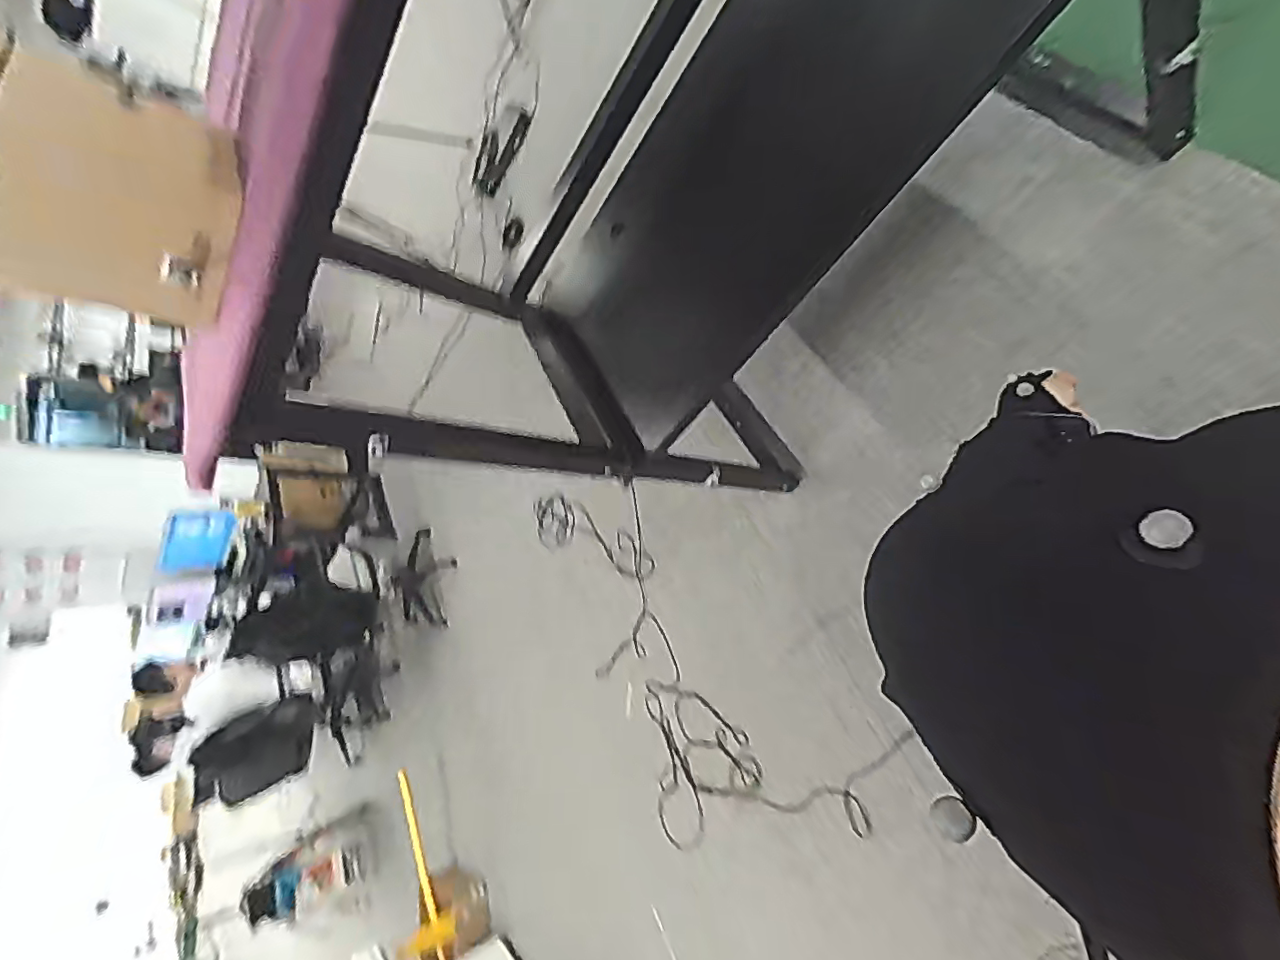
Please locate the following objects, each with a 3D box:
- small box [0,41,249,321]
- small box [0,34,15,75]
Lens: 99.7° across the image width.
[{"bbox_3d":[-0.525,-0.290,0.556,0.168,0.176,0.179,-52,54,29],"label":"small box"},{"bbox_3d":[-0.645,-0.298,0.443,0.179,0.176,0.168,-53,54,29],"label":"small box"}]
